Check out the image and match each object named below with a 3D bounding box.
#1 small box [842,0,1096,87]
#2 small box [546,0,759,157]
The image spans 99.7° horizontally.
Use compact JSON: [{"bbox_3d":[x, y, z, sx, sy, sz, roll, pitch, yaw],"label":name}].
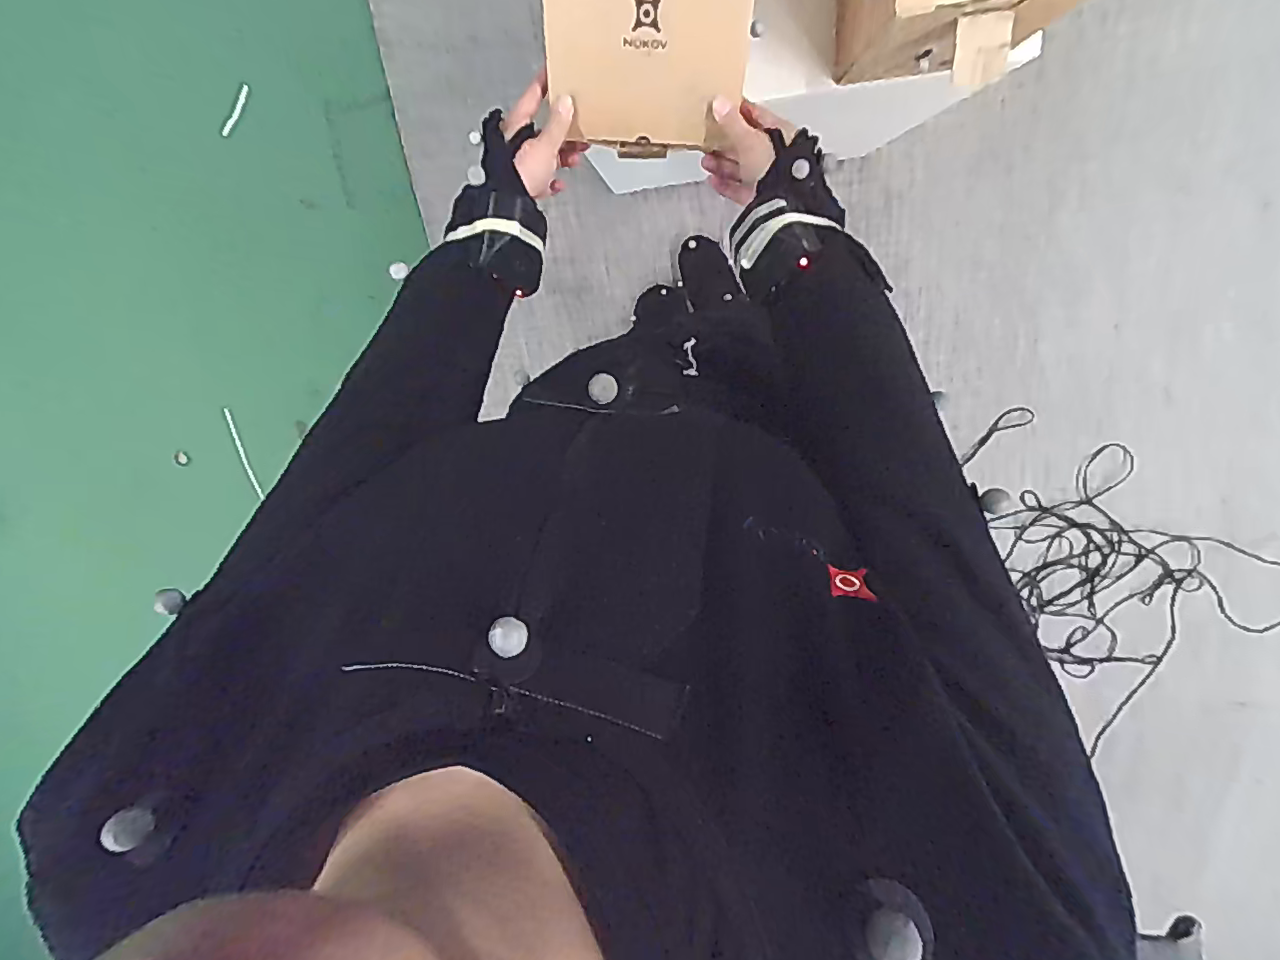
[{"bbox_3d":[0.282,-0.479,0.467,0.168,0.176,0.179,-6,110,5],"label":"small box"},{"bbox_3d":[0.014,-0.410,0.478,0.168,0.176,0.179,4,134,1],"label":"small box"}]
